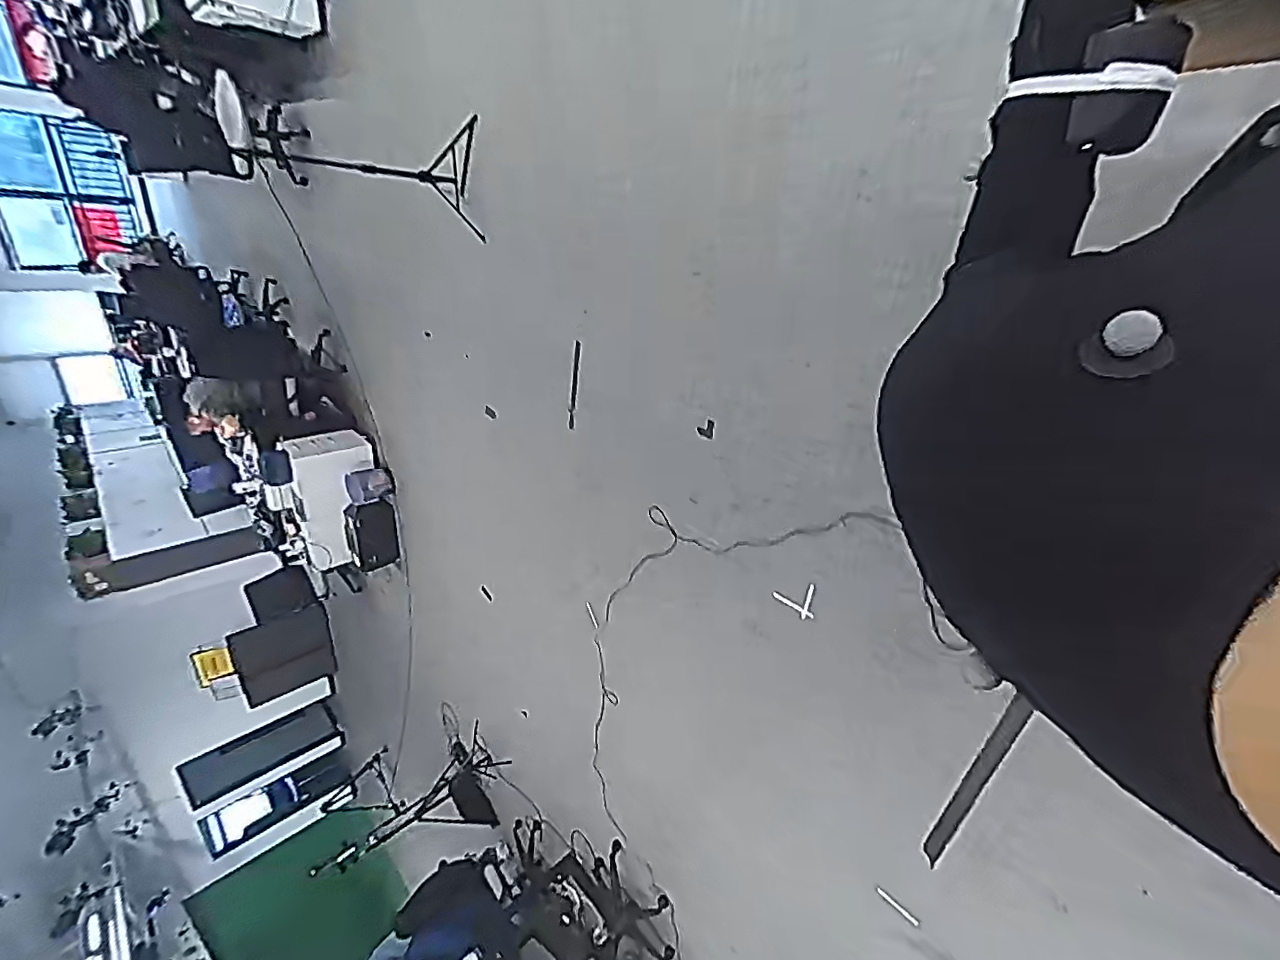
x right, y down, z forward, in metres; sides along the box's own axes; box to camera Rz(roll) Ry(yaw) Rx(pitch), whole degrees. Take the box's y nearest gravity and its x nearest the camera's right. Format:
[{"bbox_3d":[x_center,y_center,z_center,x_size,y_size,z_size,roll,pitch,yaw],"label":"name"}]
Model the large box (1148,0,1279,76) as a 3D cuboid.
[{"bbox_3d":[0.548,-0.426,0.244,0.408,0.320,0.320,21,125,38],"label":"large box"}]
